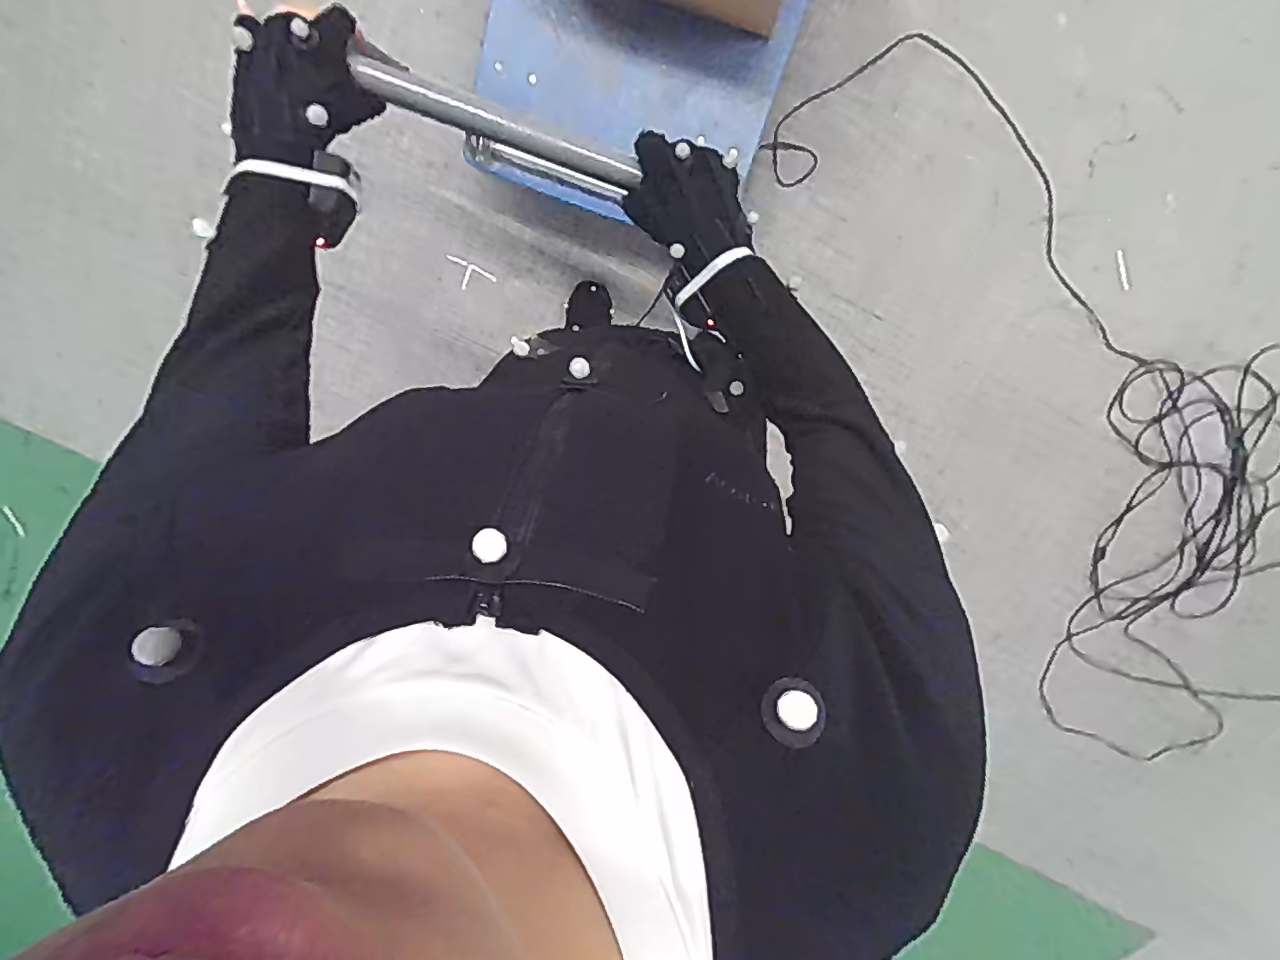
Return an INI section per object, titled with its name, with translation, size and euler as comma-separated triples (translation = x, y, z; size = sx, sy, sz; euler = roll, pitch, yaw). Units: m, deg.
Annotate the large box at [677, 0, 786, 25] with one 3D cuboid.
[large box]
translation = 0.089, -0.985, 0.821
size = 0.408, 0.320, 0.320
euler = 16, 109, -1
